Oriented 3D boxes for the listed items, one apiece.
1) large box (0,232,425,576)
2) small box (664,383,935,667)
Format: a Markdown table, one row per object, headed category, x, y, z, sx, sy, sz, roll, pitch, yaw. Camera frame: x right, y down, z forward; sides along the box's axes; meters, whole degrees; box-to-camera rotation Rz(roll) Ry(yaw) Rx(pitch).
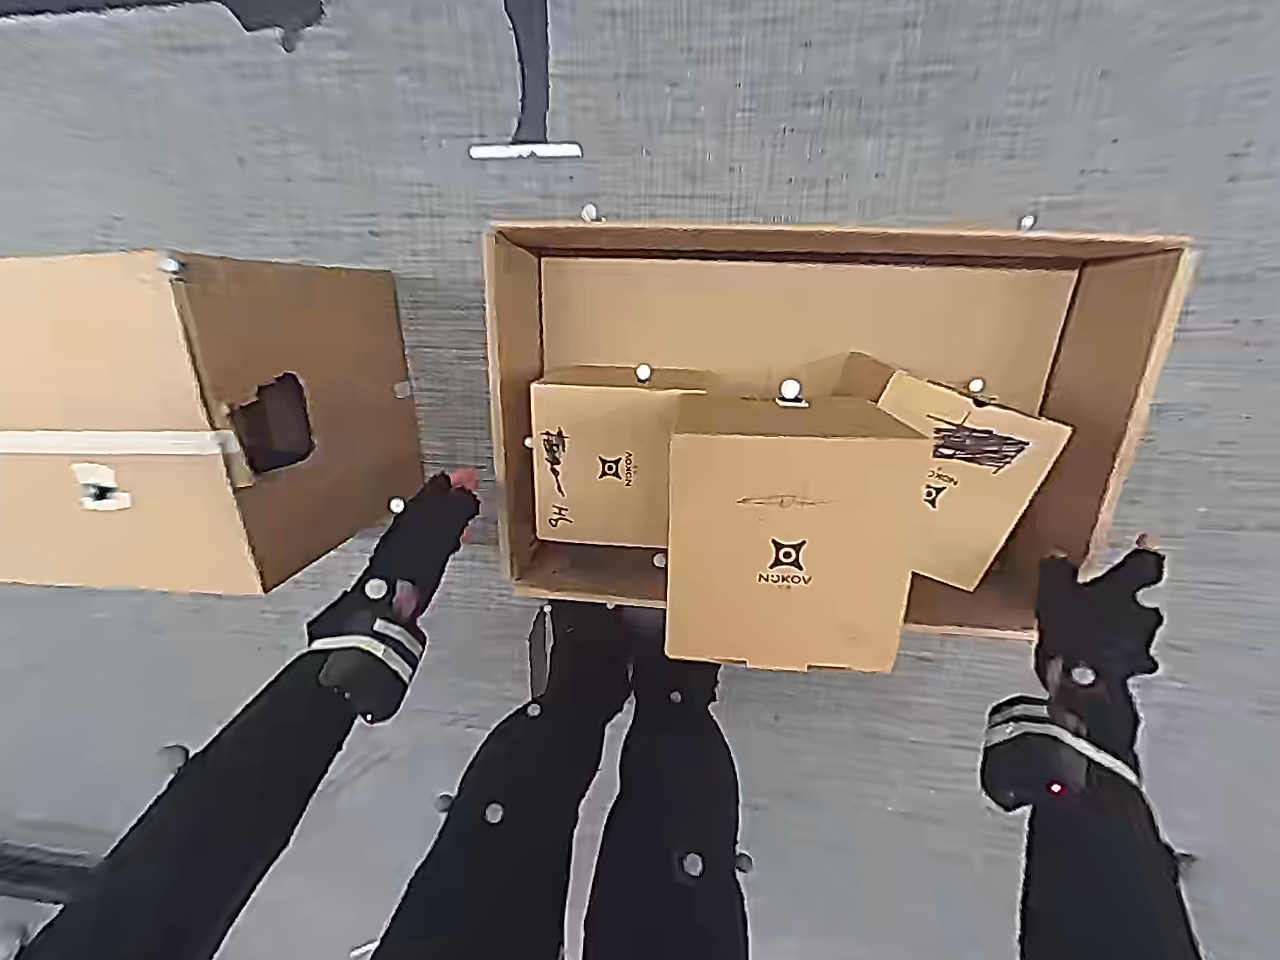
| category | x | y | z | sx | sy | sz | roll | pitch | yaw |
| --- | --- | --- | --- | --- | --- | --- | --- | --- | --- |
| large box | -0.535 | -0.096 | 0.639 | 0.408 | 0.320 | 0.320 | 0 | 110 | 7 |
| small box | 0.108 | 0.022 | 0.438 | 0.168 | 0.176 | 0.179 | 1 | 108 | 6 |
